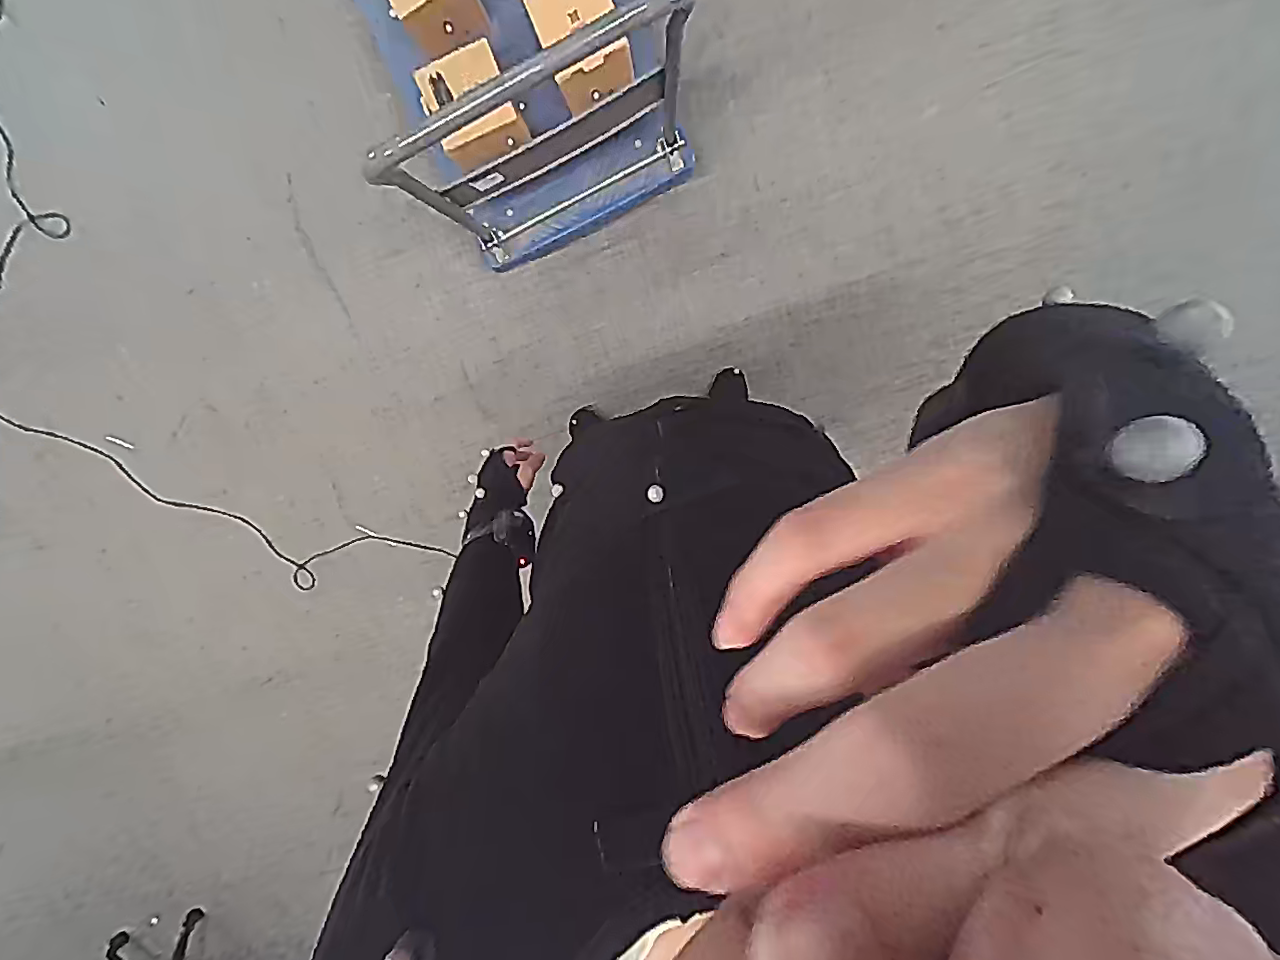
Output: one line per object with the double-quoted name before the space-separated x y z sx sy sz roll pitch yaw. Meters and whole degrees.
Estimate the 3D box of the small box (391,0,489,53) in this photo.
"small box" -0.455 -1.078 1.170 0.168 0.176 0.179 -27 99 8

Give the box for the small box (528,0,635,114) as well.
"small box" -0.121 -0.950 1.175 0.168 0.176 0.179 -22 100 8
